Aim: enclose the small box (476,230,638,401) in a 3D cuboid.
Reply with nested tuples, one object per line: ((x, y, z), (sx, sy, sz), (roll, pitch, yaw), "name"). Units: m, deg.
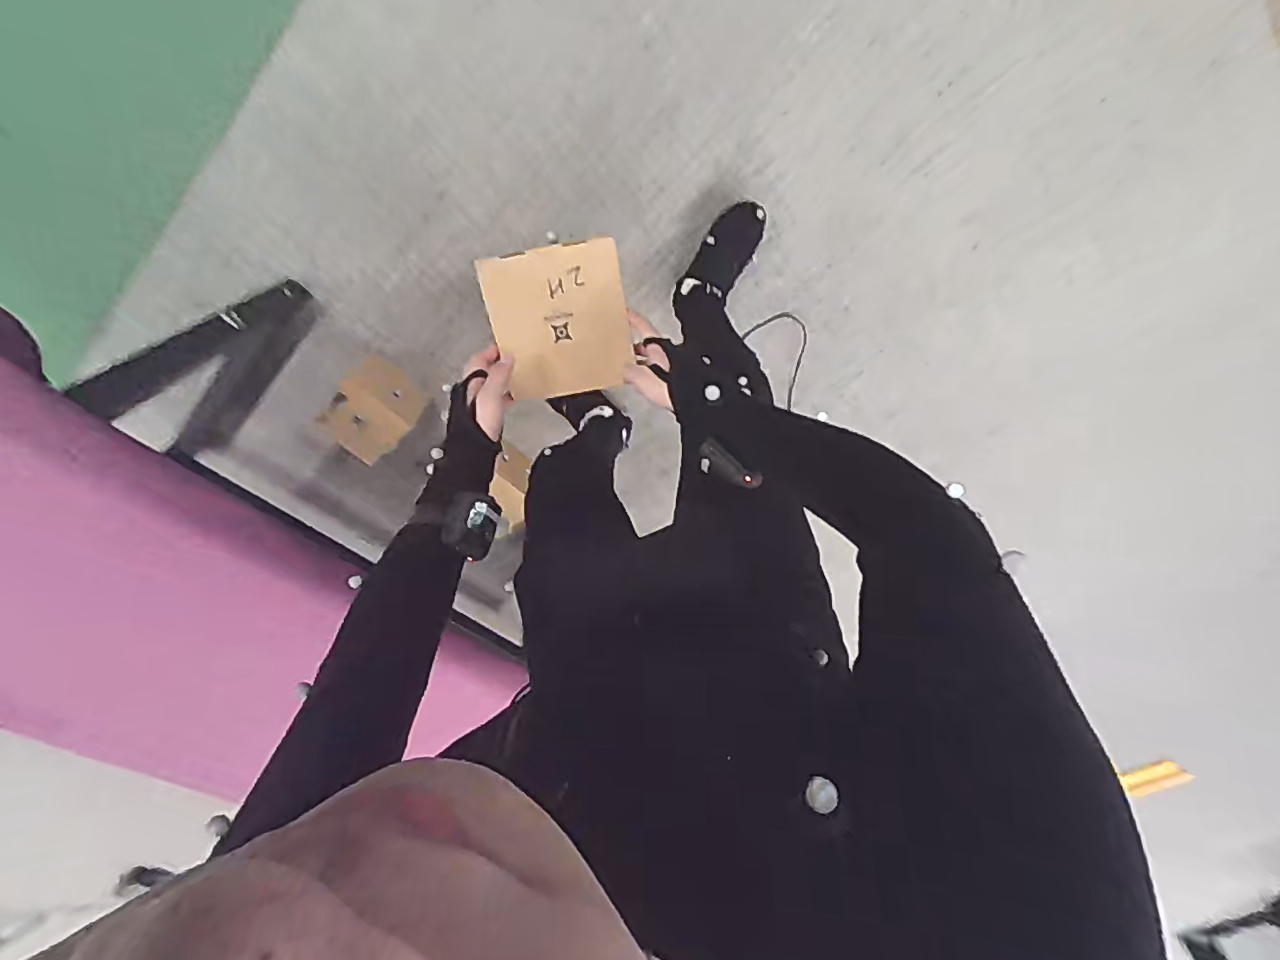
((-0.095, -0.222, 0.710), (0.168, 0.176, 0.179), (-9, 115, 2), "small box")

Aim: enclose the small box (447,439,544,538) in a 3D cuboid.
((-0.377, 0.015, 1.442), (0.168, 0.176, 0.179), (-38, 118, 20), "small box")

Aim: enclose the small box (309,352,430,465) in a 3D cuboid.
((-0.639, -0.176, 1.302), (0.168, 0.176, 0.179), (-37, 118, 19), "small box")
